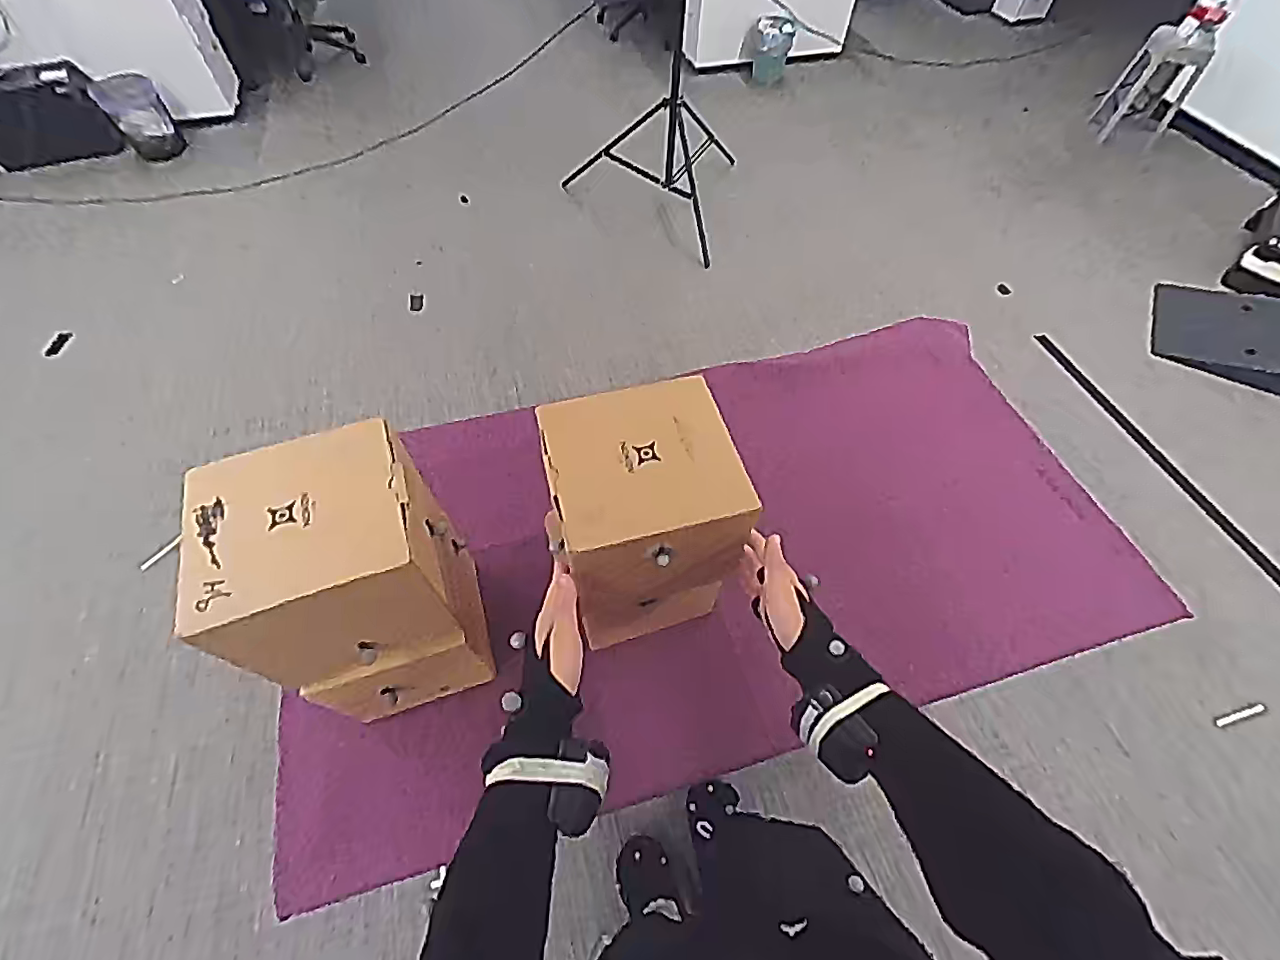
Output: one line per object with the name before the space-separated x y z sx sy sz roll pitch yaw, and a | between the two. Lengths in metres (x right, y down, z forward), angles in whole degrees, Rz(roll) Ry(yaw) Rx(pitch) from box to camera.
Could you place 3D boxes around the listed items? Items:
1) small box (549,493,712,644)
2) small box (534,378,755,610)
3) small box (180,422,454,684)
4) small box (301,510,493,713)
small box | -0.009 0.098 0.714 0.179 0.176 0.168 -15 59 -11
small box | -0.003 0.021 0.571 0.179 0.176 0.168 -12 60 -10
small box | -0.294 0.075 0.528 0.179 0.176 0.168 -18 59 -13
small box | -0.290 0.169 0.663 0.168 0.176 0.179 -16 58 -11
